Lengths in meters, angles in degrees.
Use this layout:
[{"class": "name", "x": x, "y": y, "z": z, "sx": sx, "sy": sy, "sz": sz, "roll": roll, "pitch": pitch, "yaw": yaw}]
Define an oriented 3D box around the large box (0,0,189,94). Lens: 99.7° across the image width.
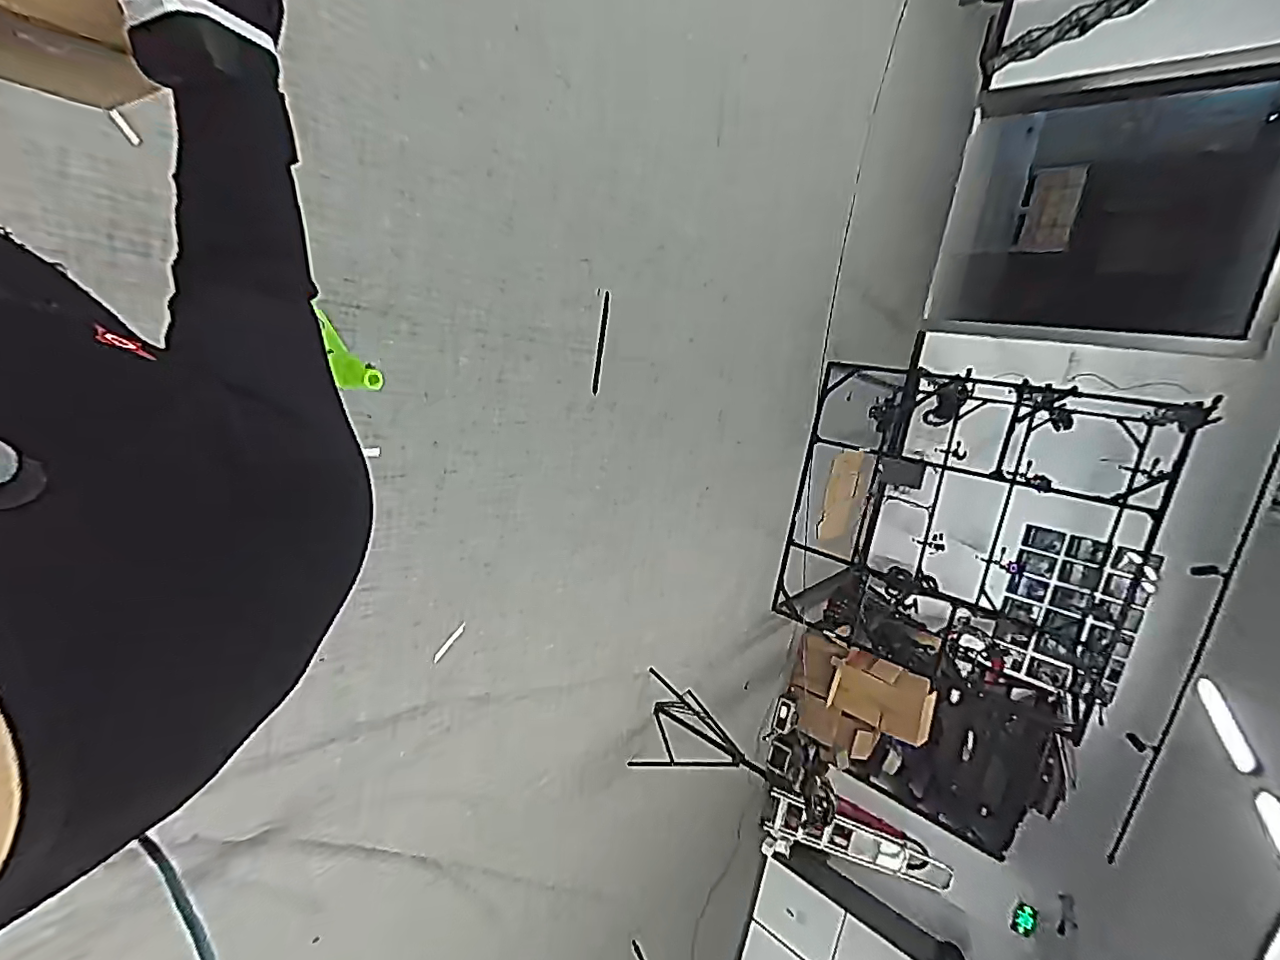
[{"class": "large box", "x": -0.540, "y": -0.470, "z": 0.279, "sx": 0.408, "sy": 0.320, "sz": 0.320, "roll": -10, "pitch": 117, "yaw": -51}]
